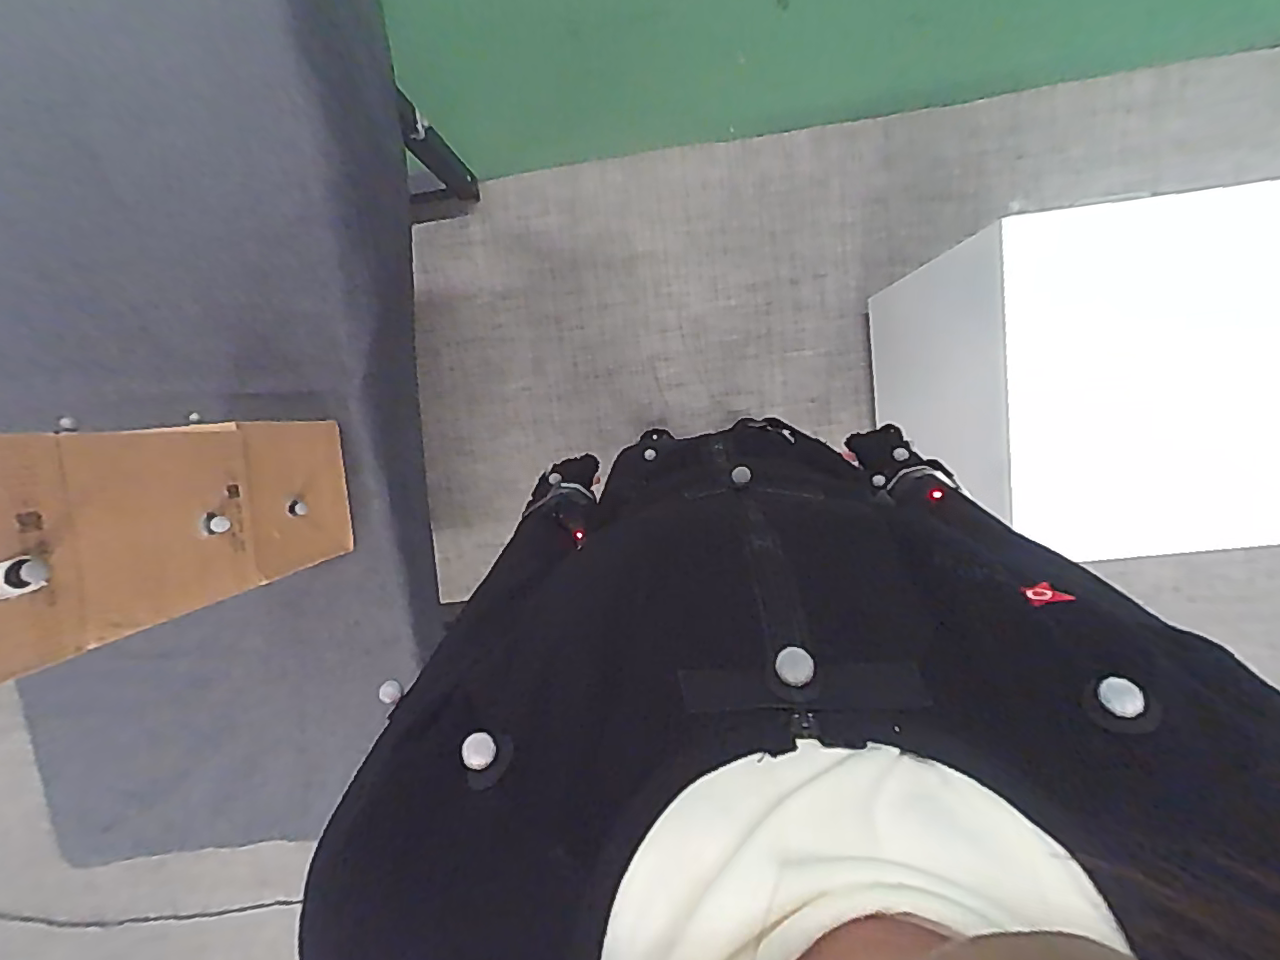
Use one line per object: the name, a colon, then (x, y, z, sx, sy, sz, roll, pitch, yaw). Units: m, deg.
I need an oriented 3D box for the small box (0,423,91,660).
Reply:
small box: (-0.517, 0.052, 0.336, 0.179, 0.176, 0.168, -2, 98, 5)

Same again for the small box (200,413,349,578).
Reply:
small box: (-0.484, 0.012, 0.658, 0.168, 0.176, 0.179, -3, 97, 6)
